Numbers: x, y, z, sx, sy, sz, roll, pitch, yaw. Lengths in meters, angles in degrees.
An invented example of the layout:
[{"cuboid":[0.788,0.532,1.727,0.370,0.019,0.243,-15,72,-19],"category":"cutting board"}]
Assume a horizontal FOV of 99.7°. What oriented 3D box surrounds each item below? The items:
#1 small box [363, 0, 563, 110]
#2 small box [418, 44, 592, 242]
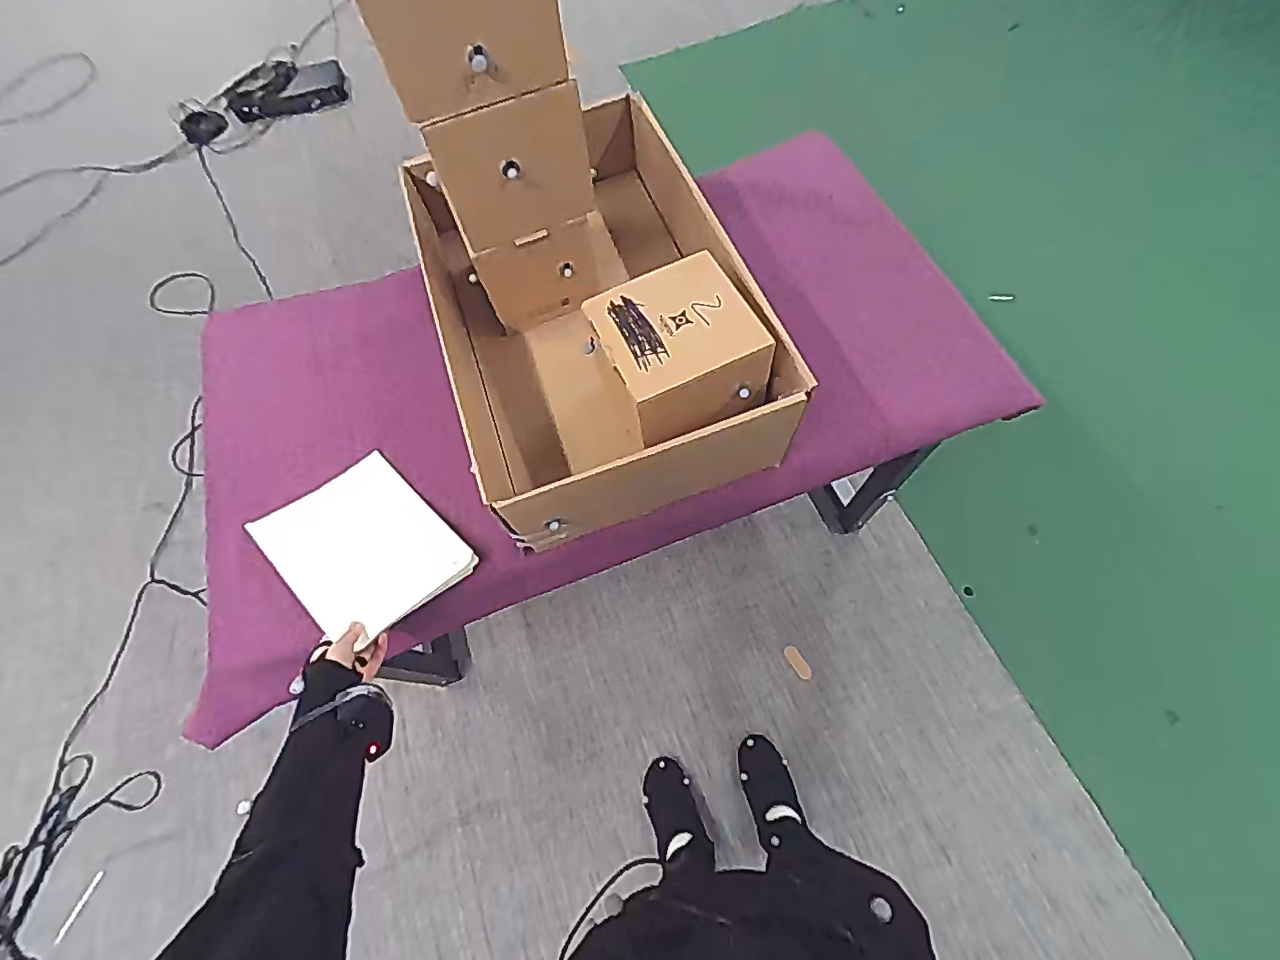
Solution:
[{"cuboid":[-0.179,-0.496,0.510,0.179,0.176,0.168,-20,67,-6],"category":"small box"},{"cuboid":[-0.167,-0.430,0.659,0.179,0.176,0.168,-22,68,-6],"category":"small box"}]
